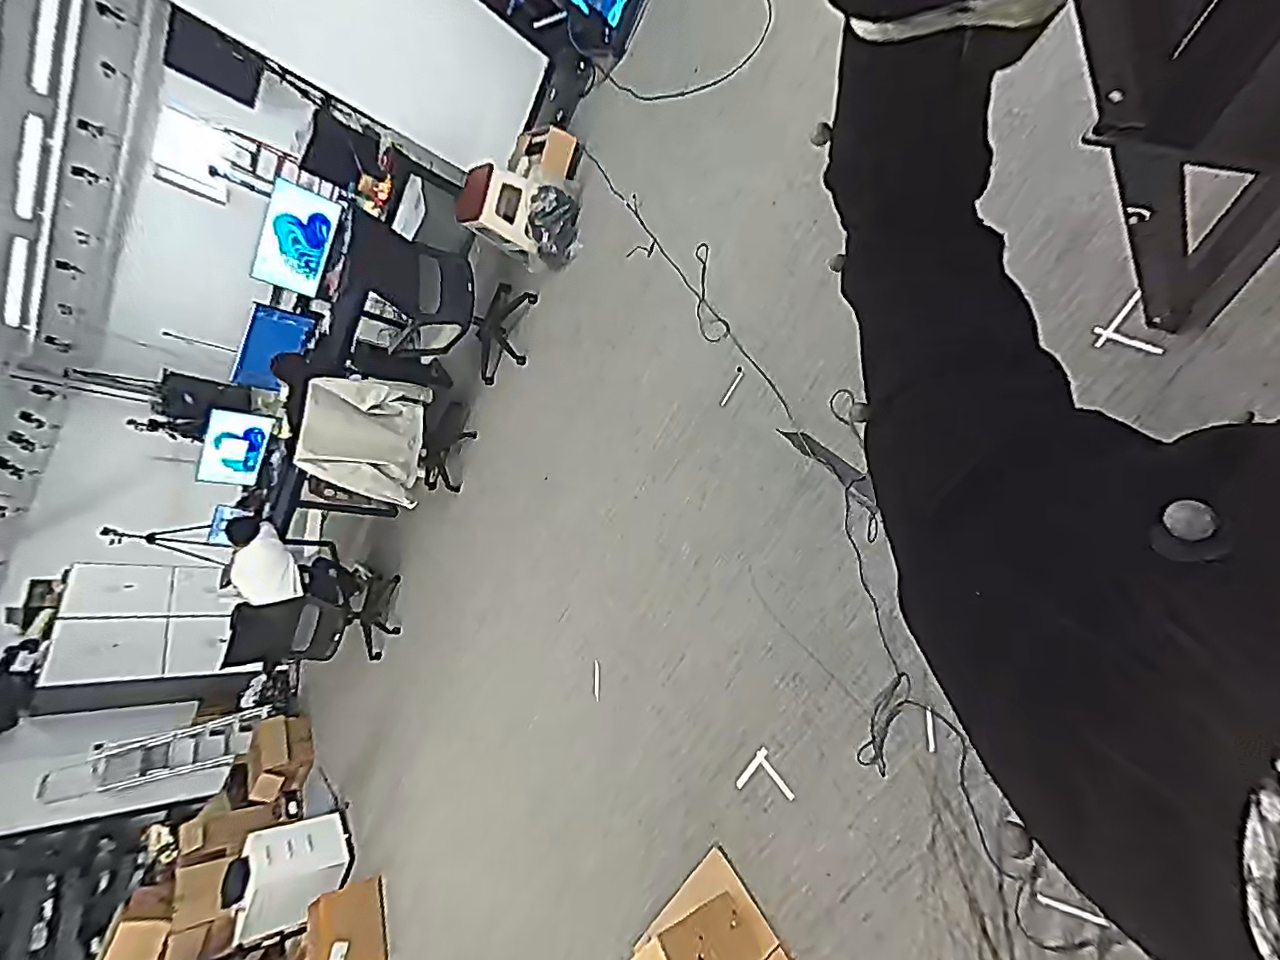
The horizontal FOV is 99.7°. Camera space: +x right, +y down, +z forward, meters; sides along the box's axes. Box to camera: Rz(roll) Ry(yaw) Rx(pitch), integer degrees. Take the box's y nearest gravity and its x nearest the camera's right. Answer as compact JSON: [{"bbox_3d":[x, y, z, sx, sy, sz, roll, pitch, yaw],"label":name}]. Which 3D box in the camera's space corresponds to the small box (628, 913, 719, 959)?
[{"bbox_3d":[0.100,1.359,1.501,0.179,0.176,0.168,-57,47,20],"label":"small box"}]

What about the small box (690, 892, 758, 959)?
[{"bbox_3d":[0.217,1.385,1.612,0.168,0.176,0.179,46,113,41],"label":"small box"}]
